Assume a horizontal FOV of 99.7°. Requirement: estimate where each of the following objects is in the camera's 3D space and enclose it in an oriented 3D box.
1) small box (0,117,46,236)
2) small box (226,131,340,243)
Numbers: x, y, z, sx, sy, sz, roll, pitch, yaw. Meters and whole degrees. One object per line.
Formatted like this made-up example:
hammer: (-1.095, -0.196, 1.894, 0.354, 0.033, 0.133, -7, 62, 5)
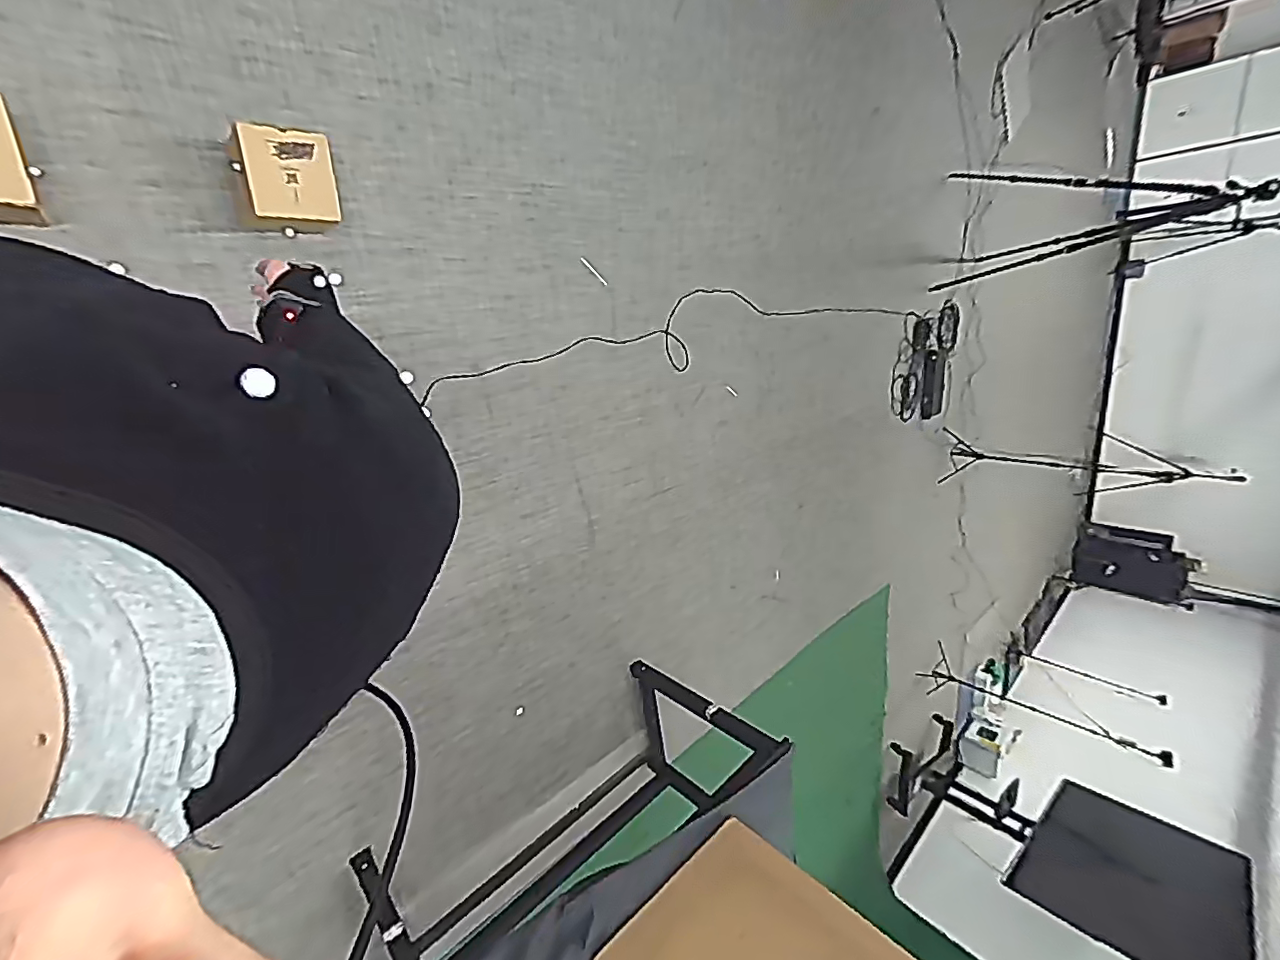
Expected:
small box: (-1.148, -0.516, 0.905, 0.168, 0.176, 0.179, -18, 110, -39)
small box: (-0.794, -0.639, 1.201, 0.168, 0.176, 0.179, -17, 110, -38)
